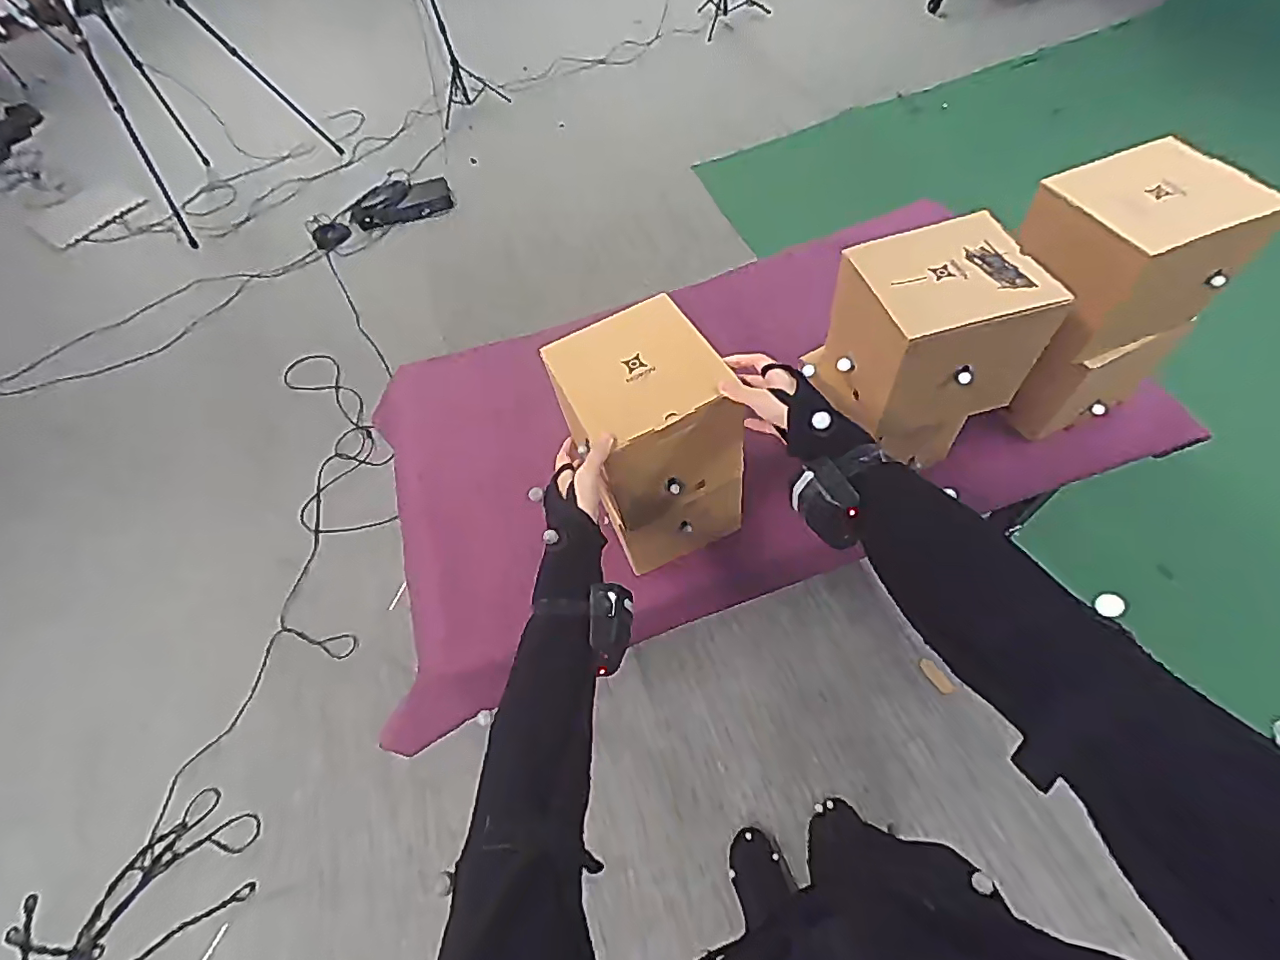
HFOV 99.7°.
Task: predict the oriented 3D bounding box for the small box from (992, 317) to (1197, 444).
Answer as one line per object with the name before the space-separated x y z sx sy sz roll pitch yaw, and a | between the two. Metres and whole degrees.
small box | 0.633 -0.186 0.806 0.179 0.176 0.168 -24 57 -6

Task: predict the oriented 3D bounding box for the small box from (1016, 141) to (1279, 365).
small box | 0.595 -0.275 0.674 0.179 0.176 0.168 -20 57 -2

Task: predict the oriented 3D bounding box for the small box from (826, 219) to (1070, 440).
small box | 0.346 -0.174 0.652 0.179 0.176 0.168 -15 55 1

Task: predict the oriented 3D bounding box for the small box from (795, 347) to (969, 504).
small box | 0.348 -0.097 0.800 0.168 0.176 0.179 -26 56 -7
